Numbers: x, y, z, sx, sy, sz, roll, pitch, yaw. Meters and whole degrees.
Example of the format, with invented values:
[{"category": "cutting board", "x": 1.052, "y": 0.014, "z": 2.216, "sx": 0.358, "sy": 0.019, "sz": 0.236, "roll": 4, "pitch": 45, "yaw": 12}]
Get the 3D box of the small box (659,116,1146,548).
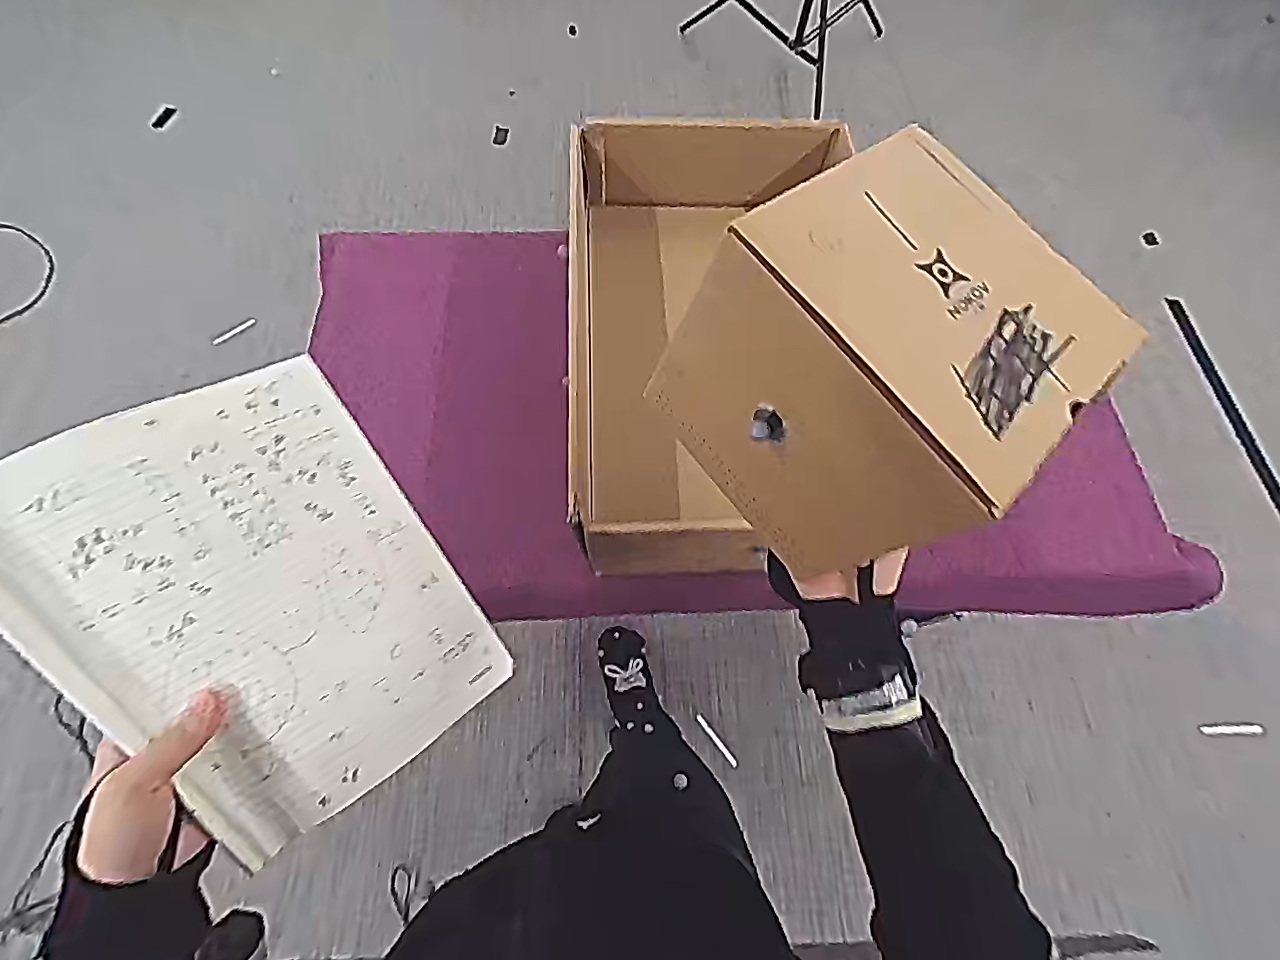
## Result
[{"category": "small box", "x": 0.140, "y": -0.074, "z": 0.342, "sx": 0.168, "sy": 0.176, "sz": 0.179, "roll": -36, "pitch": 81, "yaw": -24}]
